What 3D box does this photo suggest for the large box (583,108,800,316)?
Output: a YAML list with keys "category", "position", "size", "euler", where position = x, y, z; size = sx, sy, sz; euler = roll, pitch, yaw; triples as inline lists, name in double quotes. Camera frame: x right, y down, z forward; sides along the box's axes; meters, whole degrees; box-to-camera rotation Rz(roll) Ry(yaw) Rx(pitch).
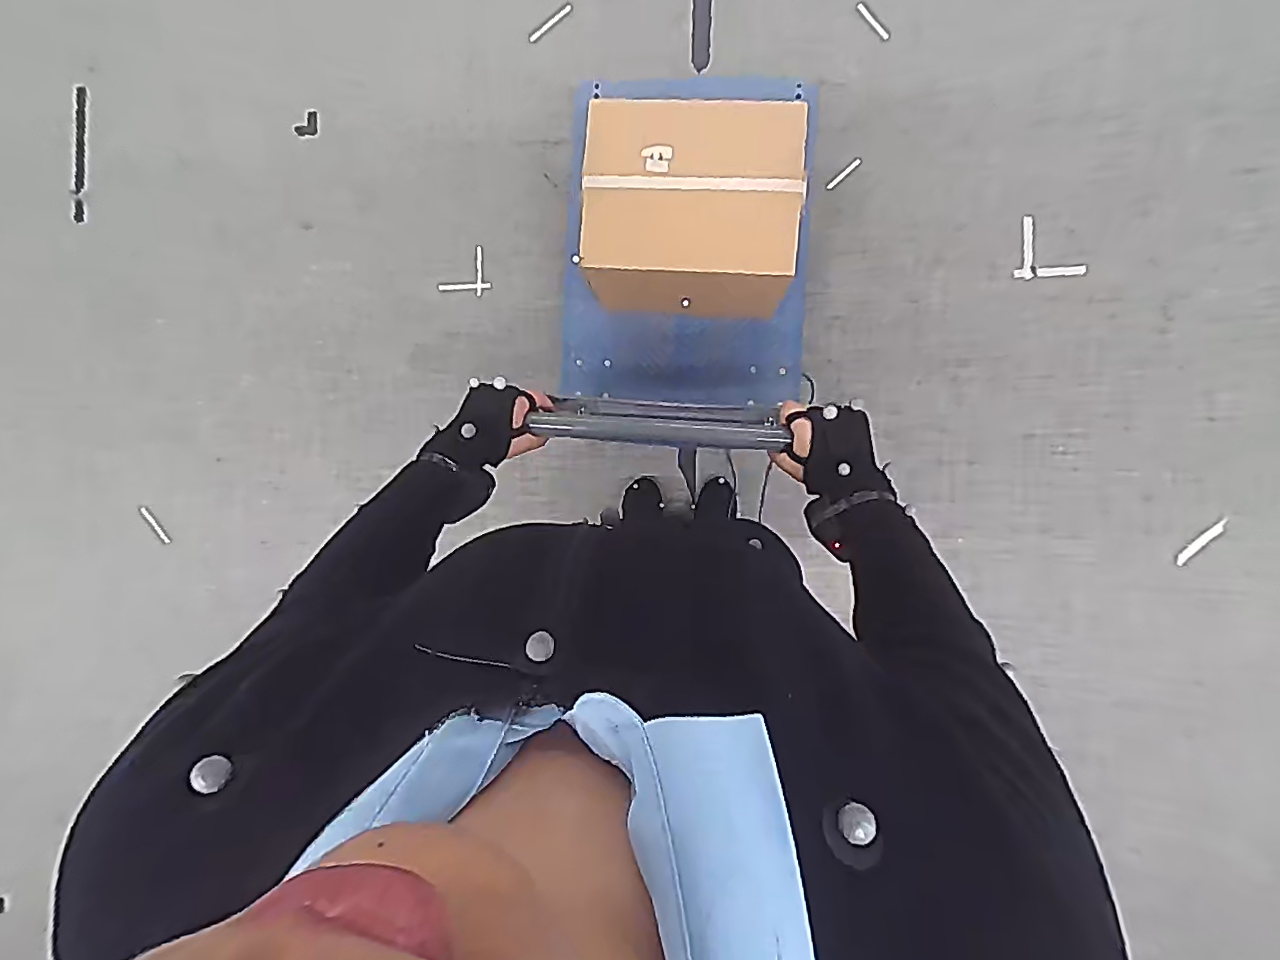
- category: "large box"
  position: [0.111, -0.550, 1.171]
  size: [0.408, 0.320, 0.320]
  euler: [4, 91, 6]
